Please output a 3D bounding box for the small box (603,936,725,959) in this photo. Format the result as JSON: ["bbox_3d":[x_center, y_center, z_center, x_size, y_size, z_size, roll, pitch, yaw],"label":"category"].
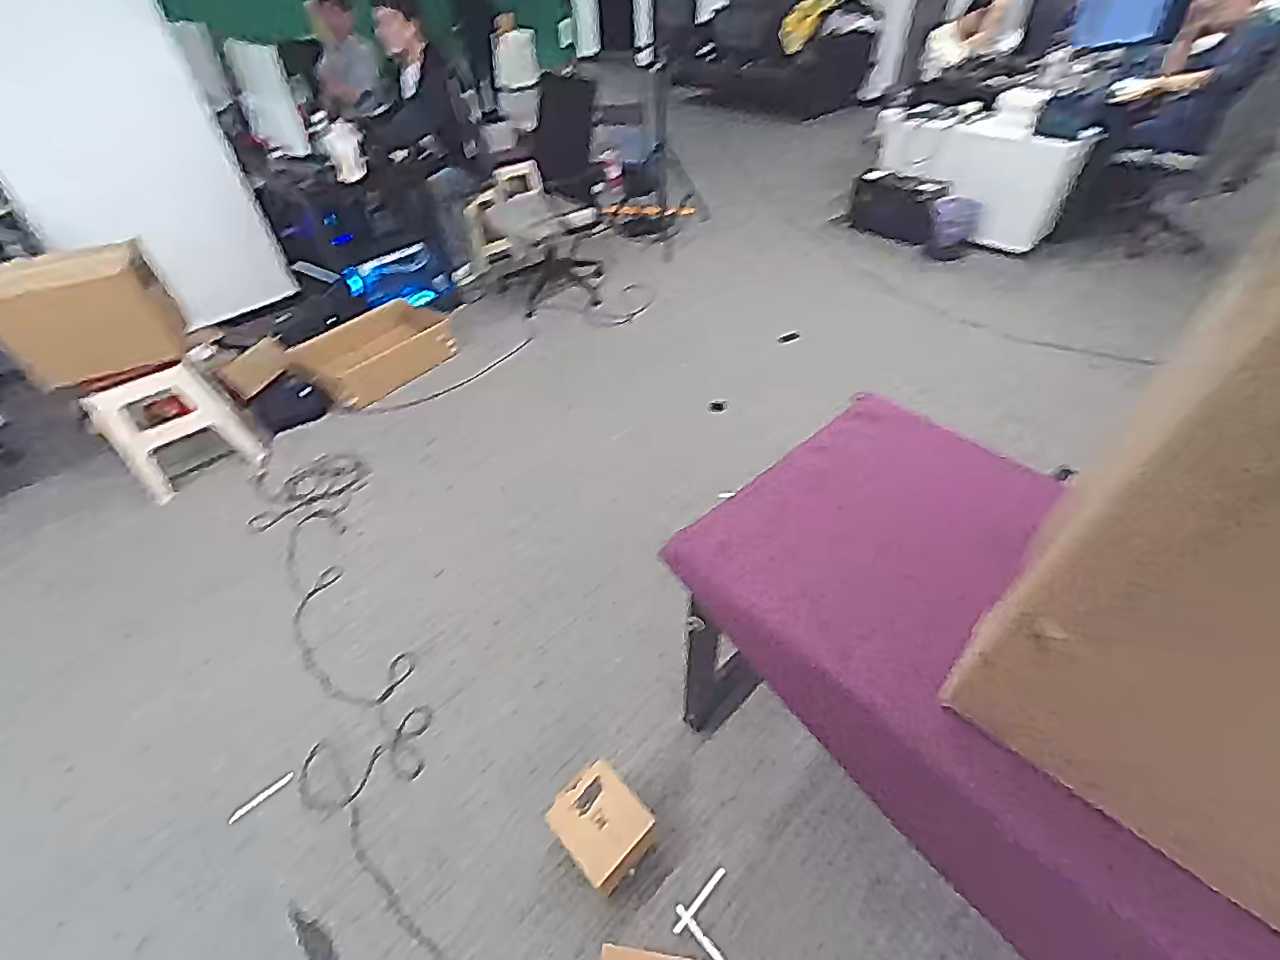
[{"bbox_3d":[0.027,0.591,0.501,0.168,0.176,0.179,12,8,1],"label":"small box"}]

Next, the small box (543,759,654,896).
[{"bbox_3d":[-0.087,0.760,1.179,0.168,0.176,0.179,-36,55,-29],"label":"small box"}]
